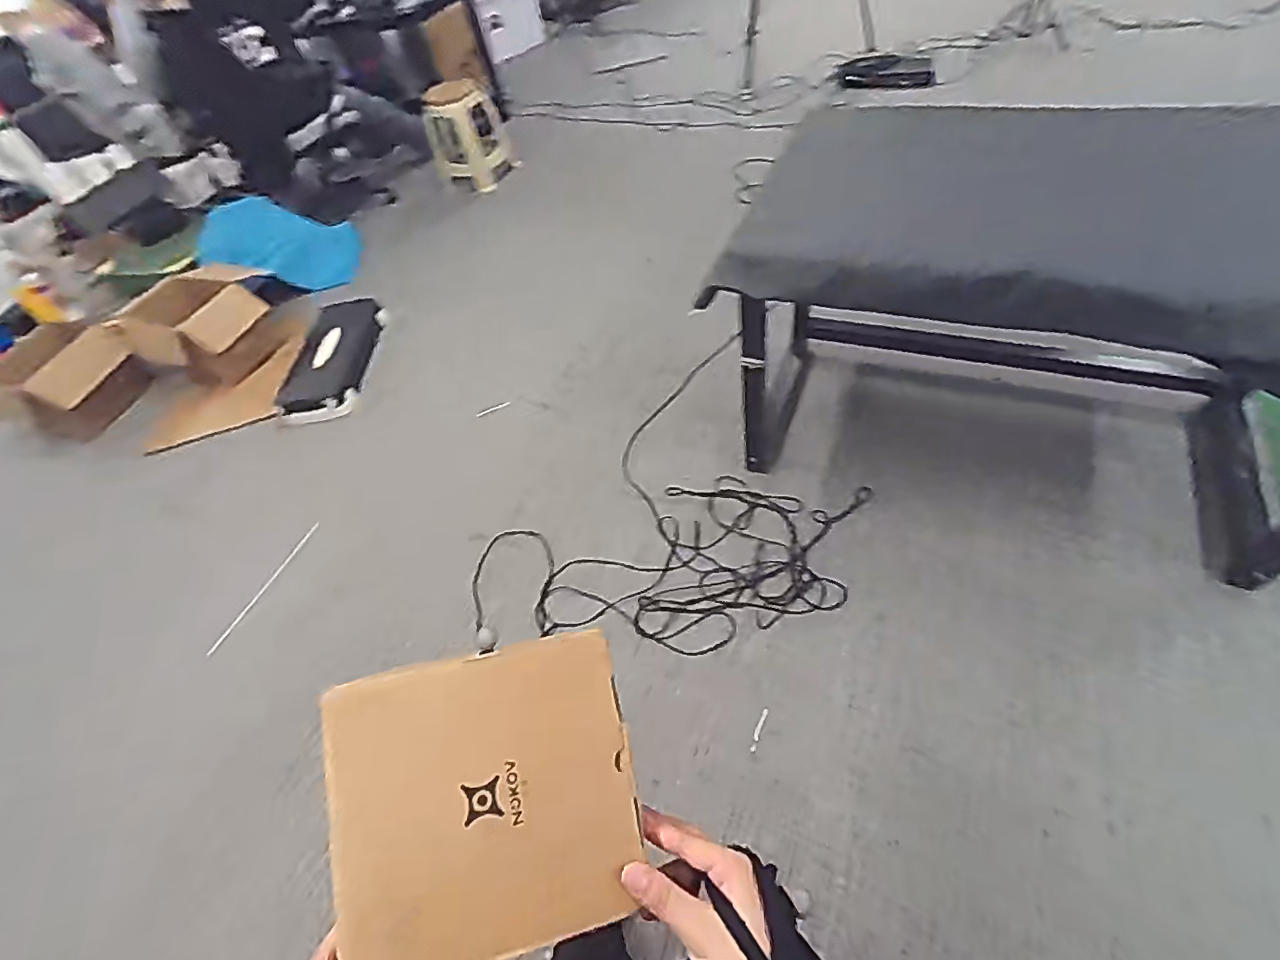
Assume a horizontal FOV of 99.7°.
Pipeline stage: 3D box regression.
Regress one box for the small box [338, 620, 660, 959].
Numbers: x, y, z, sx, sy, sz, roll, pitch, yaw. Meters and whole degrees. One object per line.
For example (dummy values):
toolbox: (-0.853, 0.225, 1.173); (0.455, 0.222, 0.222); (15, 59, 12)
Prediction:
small box: (-0.100, 0.204, 0.400); (0.179, 0.176, 0.168); (-7, 76, -15)
